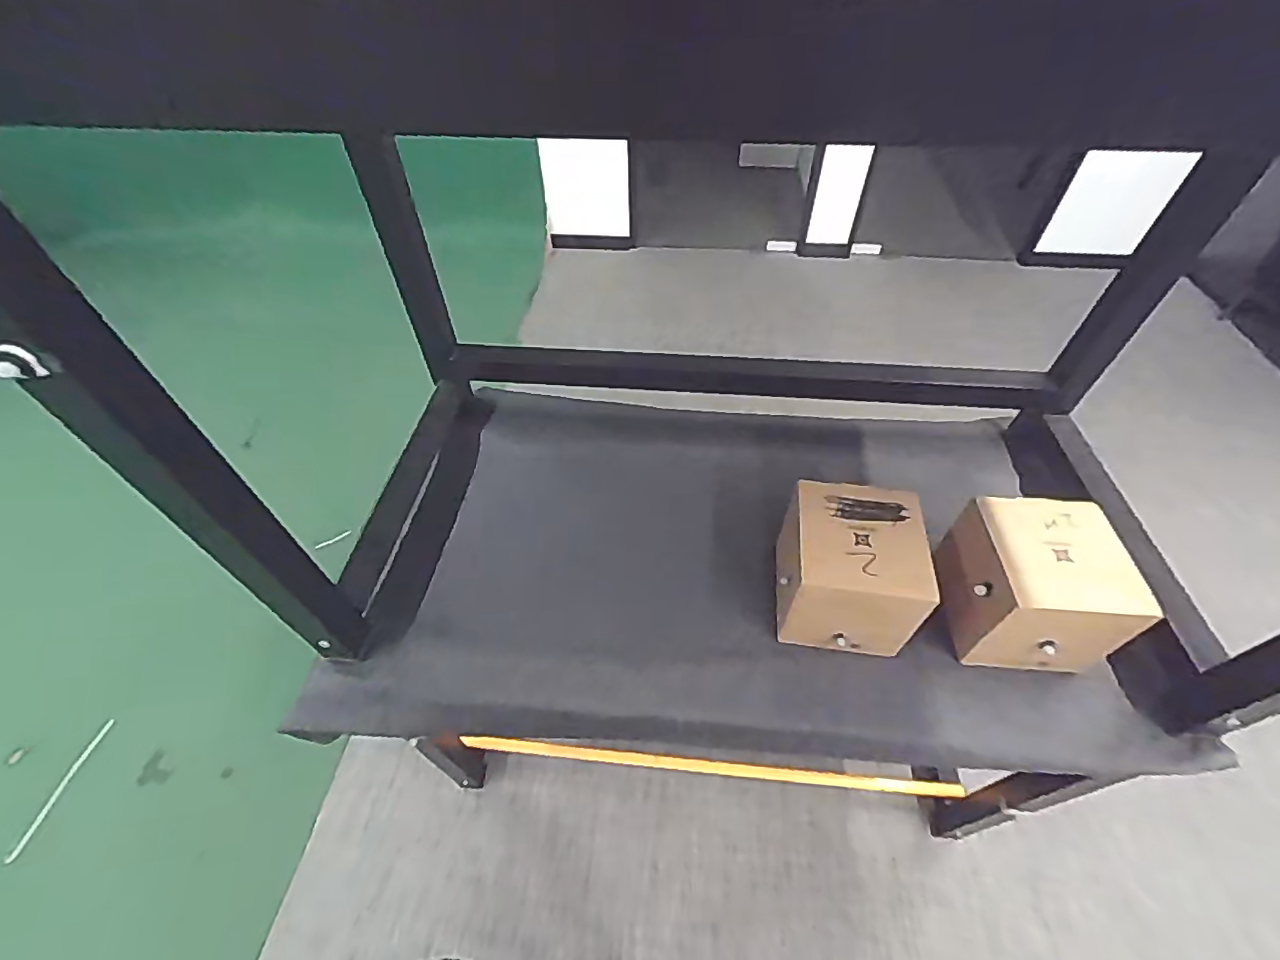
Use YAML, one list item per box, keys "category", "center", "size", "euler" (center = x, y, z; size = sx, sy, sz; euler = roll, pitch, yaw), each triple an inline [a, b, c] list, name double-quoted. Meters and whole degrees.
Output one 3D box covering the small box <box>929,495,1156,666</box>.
- category: "small box"
  center: [0.536, 0.143, 0.754]
  size: [0.168, 0.176, 0.179]
  euler: [4, 48, 4]
